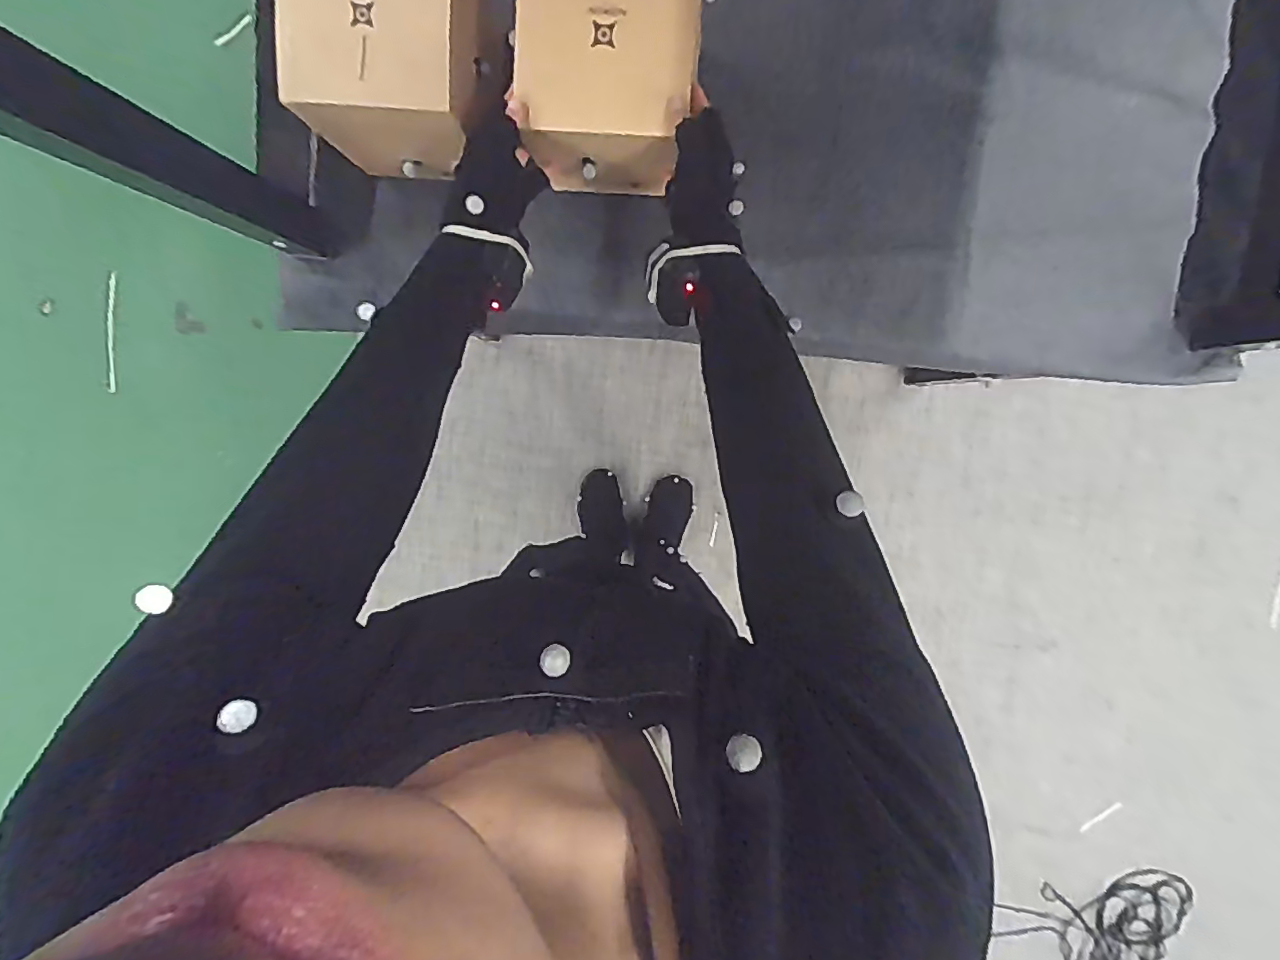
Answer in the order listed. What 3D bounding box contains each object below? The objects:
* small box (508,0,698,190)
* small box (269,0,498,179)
[{"bbox_3d":[-0.029,-0.422,0.561,0.168,0.176,0.179,5,99,4],"label":"small box"},{"bbox_3d":[-0.255,-0.450,0.571,0.168,0.176,0.179,4,98,0],"label":"small box"}]
